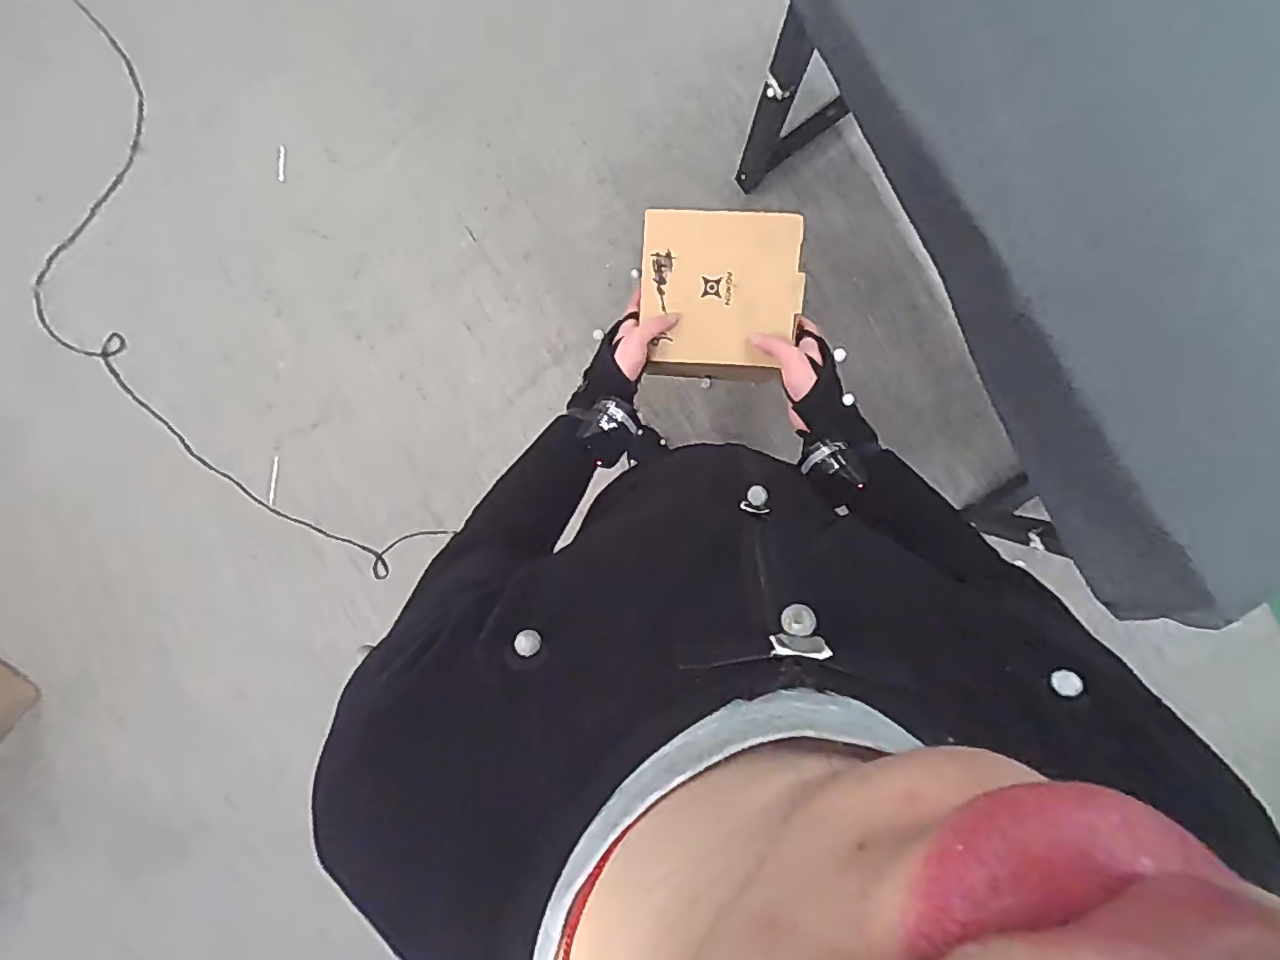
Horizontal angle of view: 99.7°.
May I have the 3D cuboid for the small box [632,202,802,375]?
[{"bbox_3d":[0.086,-0.222,0.669,0.179,0.176,0.168,4,96,2],"label":"small box"}]
